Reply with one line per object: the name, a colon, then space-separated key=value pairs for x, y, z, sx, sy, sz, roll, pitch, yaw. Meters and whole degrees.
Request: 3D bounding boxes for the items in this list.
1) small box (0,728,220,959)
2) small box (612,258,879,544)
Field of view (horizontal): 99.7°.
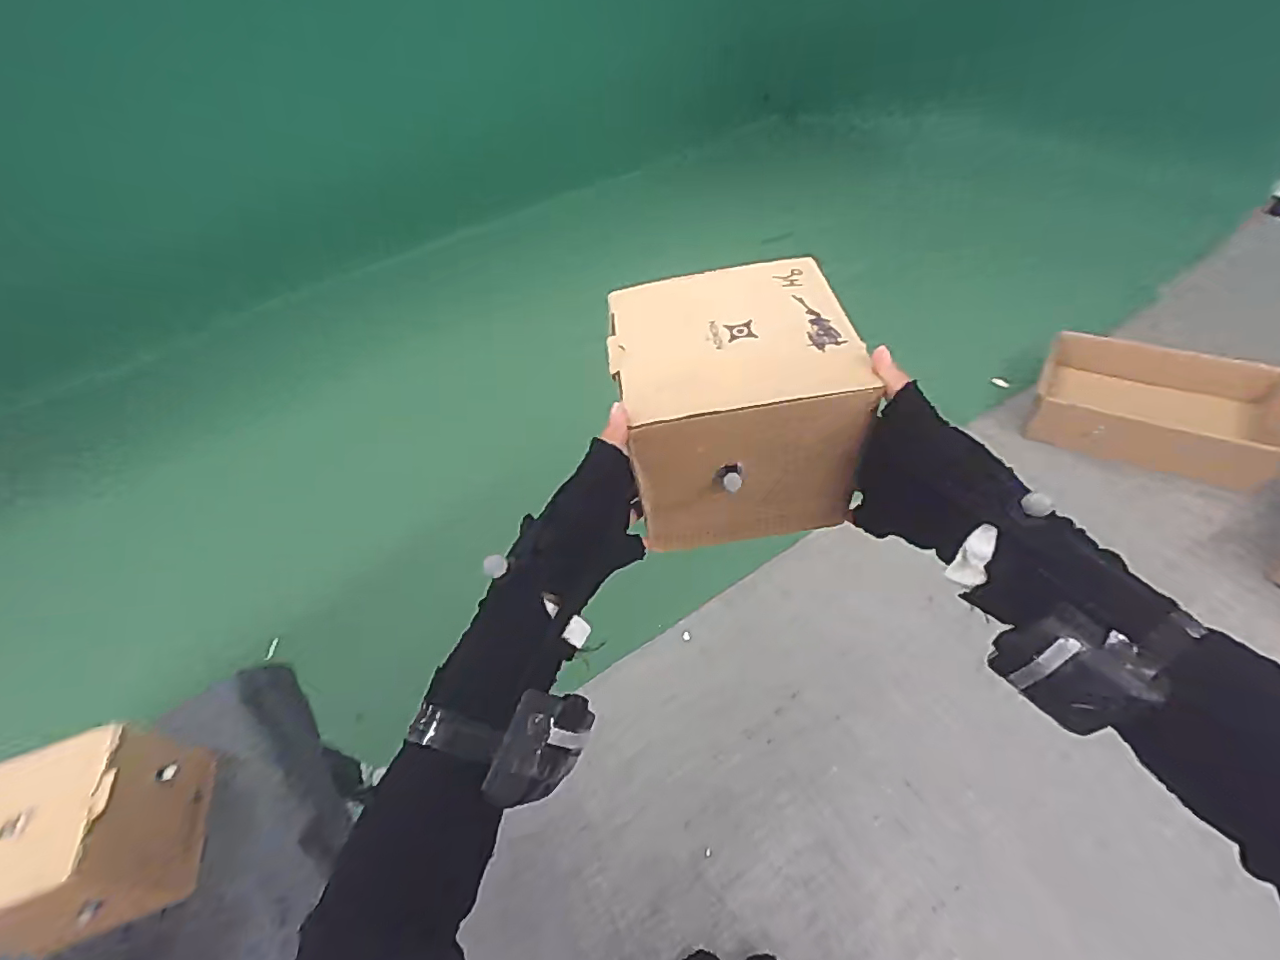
small box: x=-0.650 y=0.429 z=0.640 sx=0.179 sy=0.176 sz=0.168 roll=-22 pitch=48 yaw=-6
small box: x=0.080 y=-0.060 z=0.469 sx=0.179 sy=0.176 sz=0.168 roll=-9 pitch=52 yaw=4
